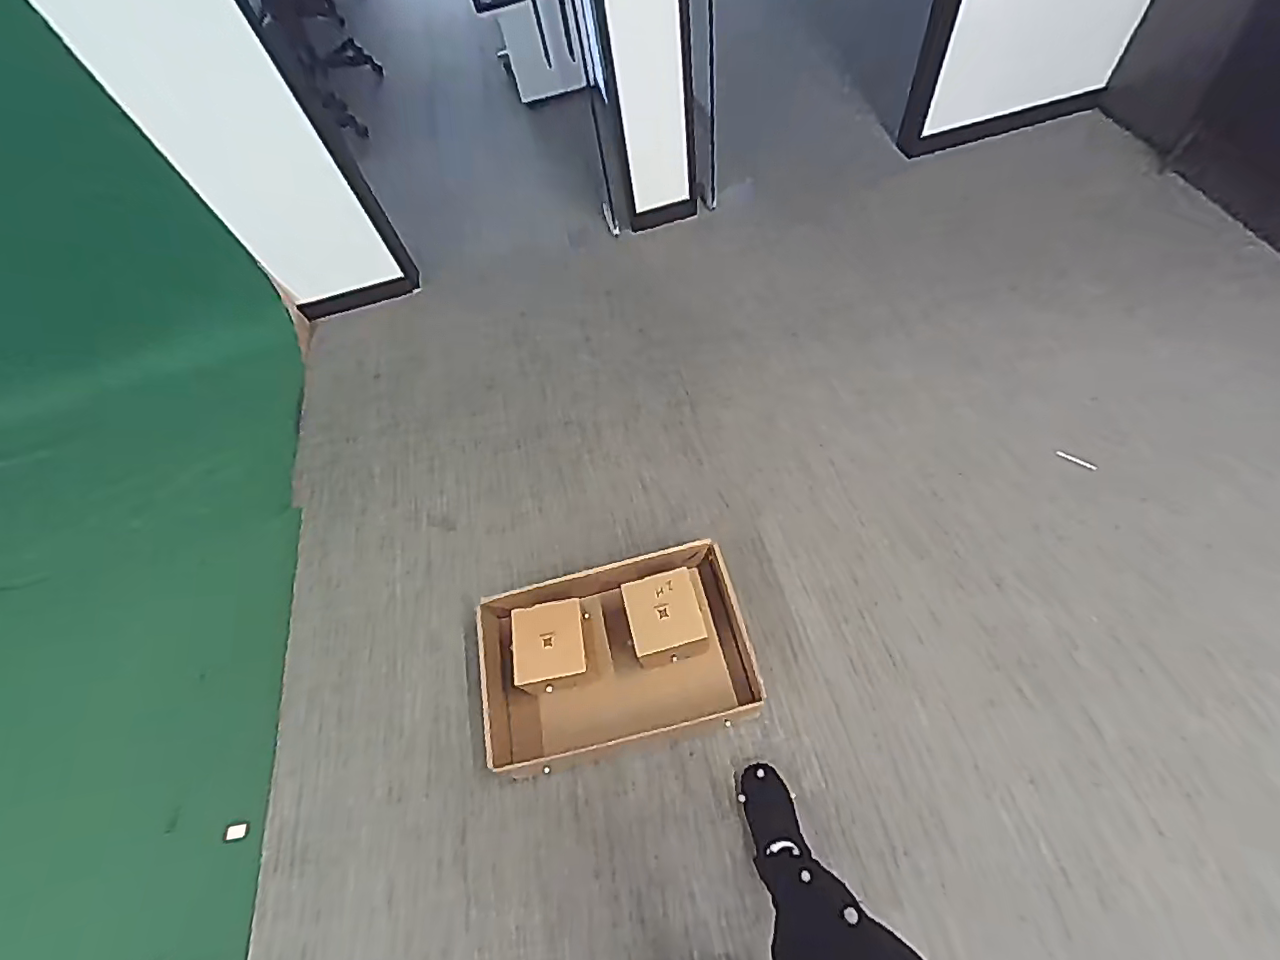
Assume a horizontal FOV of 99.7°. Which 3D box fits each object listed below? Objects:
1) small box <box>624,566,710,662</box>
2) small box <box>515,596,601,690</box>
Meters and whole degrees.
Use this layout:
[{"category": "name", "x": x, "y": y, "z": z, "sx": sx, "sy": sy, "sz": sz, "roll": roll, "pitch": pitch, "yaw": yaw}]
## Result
[{"category": "small box", "x": 0.069, "y": 0.332, "z": 1.310, "sx": 0.168, "sy": 0.176, "sz": 0.179, "roll": -15, "pitch": 60, "yaw": 0}, {"category": "small box", "x": -0.196, "y": 0.403, "z": 1.314, "sx": 0.168, "sy": 0.176, "sz": 0.179, "roll": -11, "pitch": 60, "yaw": 2}]
